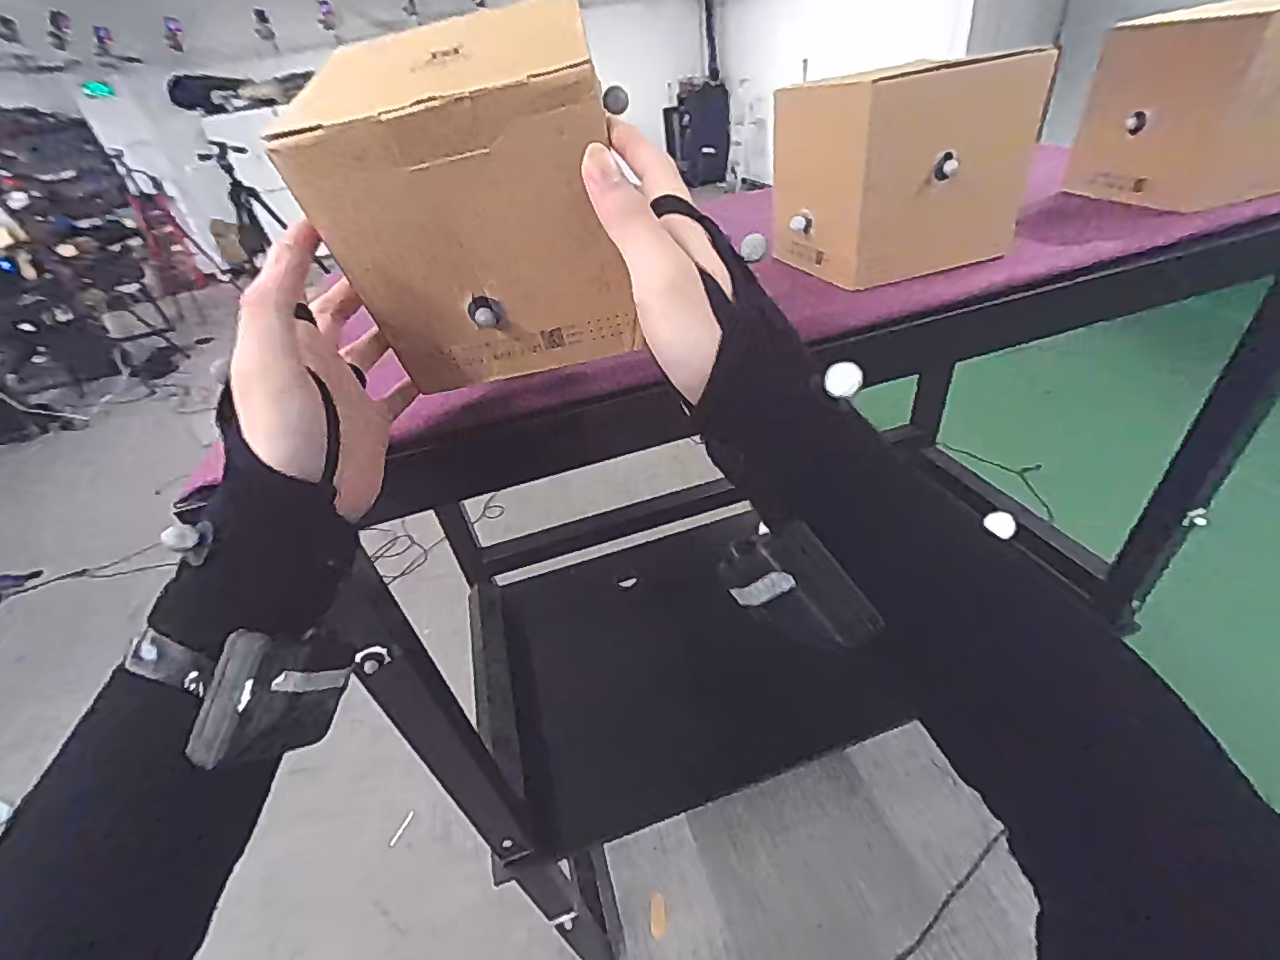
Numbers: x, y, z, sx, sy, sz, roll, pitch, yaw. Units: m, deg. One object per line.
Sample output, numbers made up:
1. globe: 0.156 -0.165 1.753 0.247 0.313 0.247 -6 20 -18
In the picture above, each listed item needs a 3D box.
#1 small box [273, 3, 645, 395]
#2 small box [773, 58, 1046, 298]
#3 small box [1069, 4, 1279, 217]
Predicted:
1. small box: -0.096 -0.187 0.373 0.168 0.176 0.179 -12 51 4
2. small box: 0.248 -0.303 0.547 0.179 0.176 0.168 -16 35 -7
3. small box: 0.622 -0.403 0.594 0.179 0.176 0.168 -14 37 -4
